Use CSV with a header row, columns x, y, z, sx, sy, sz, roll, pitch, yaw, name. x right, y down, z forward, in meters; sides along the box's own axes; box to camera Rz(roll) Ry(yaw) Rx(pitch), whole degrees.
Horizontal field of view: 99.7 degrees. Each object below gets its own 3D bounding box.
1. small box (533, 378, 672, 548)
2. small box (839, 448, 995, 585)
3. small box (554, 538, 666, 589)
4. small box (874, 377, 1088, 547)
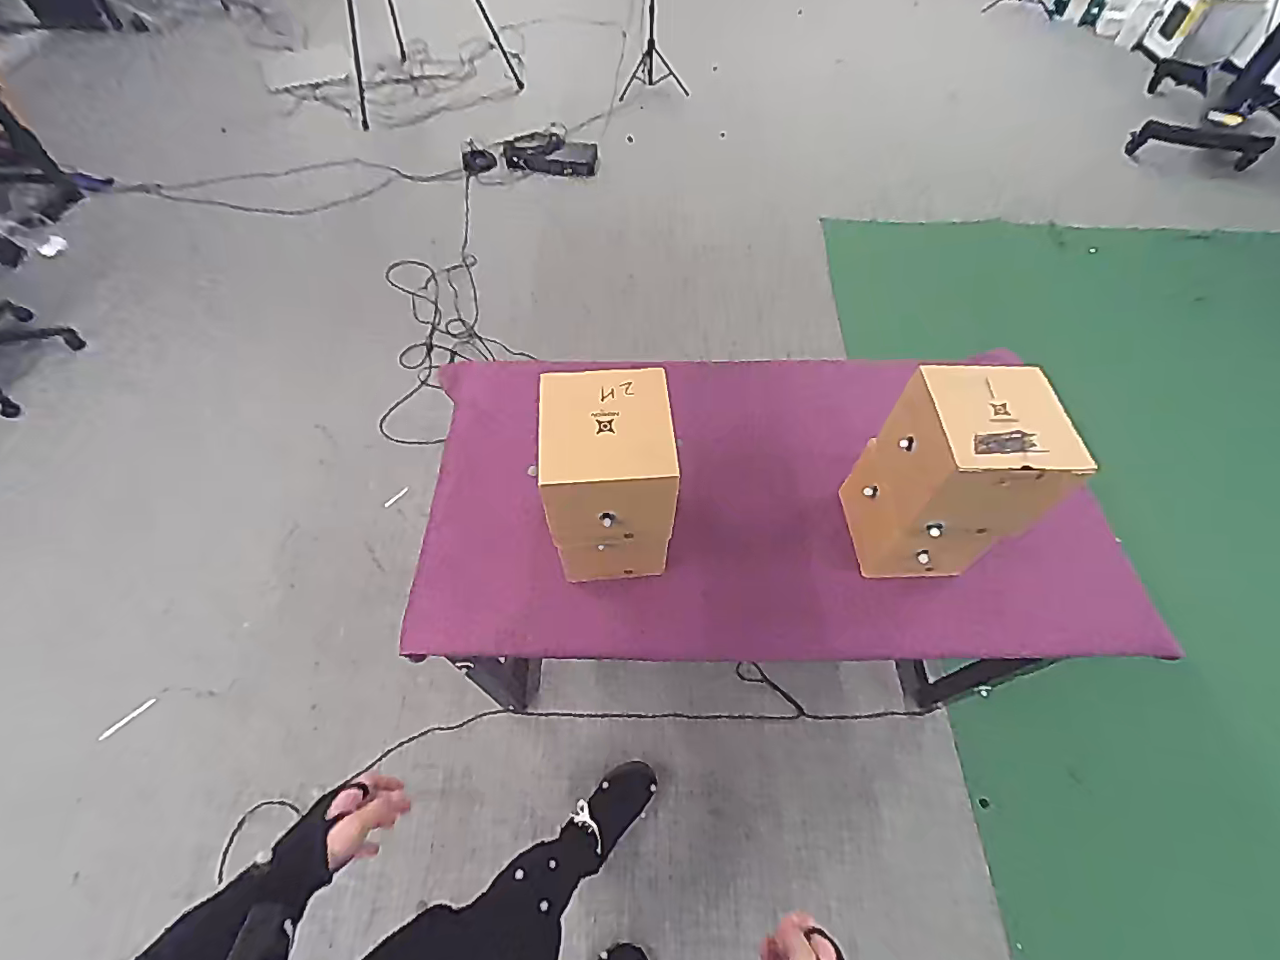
x,y,z,sx,sy,sz,roll,pitch,yaw,name
-0.047,-0.015,0.735,0.168,0.176,0.179,-3,57,-3,small box
0.446,0.065,0.887,0.168,0.176,0.179,-1,55,-1,small box
-0.051,0.061,0.883,0.168,0.176,0.179,-5,57,-3,small box
0.447,-0.020,0.745,0.168,0.176,0.179,2,54,1,small box
